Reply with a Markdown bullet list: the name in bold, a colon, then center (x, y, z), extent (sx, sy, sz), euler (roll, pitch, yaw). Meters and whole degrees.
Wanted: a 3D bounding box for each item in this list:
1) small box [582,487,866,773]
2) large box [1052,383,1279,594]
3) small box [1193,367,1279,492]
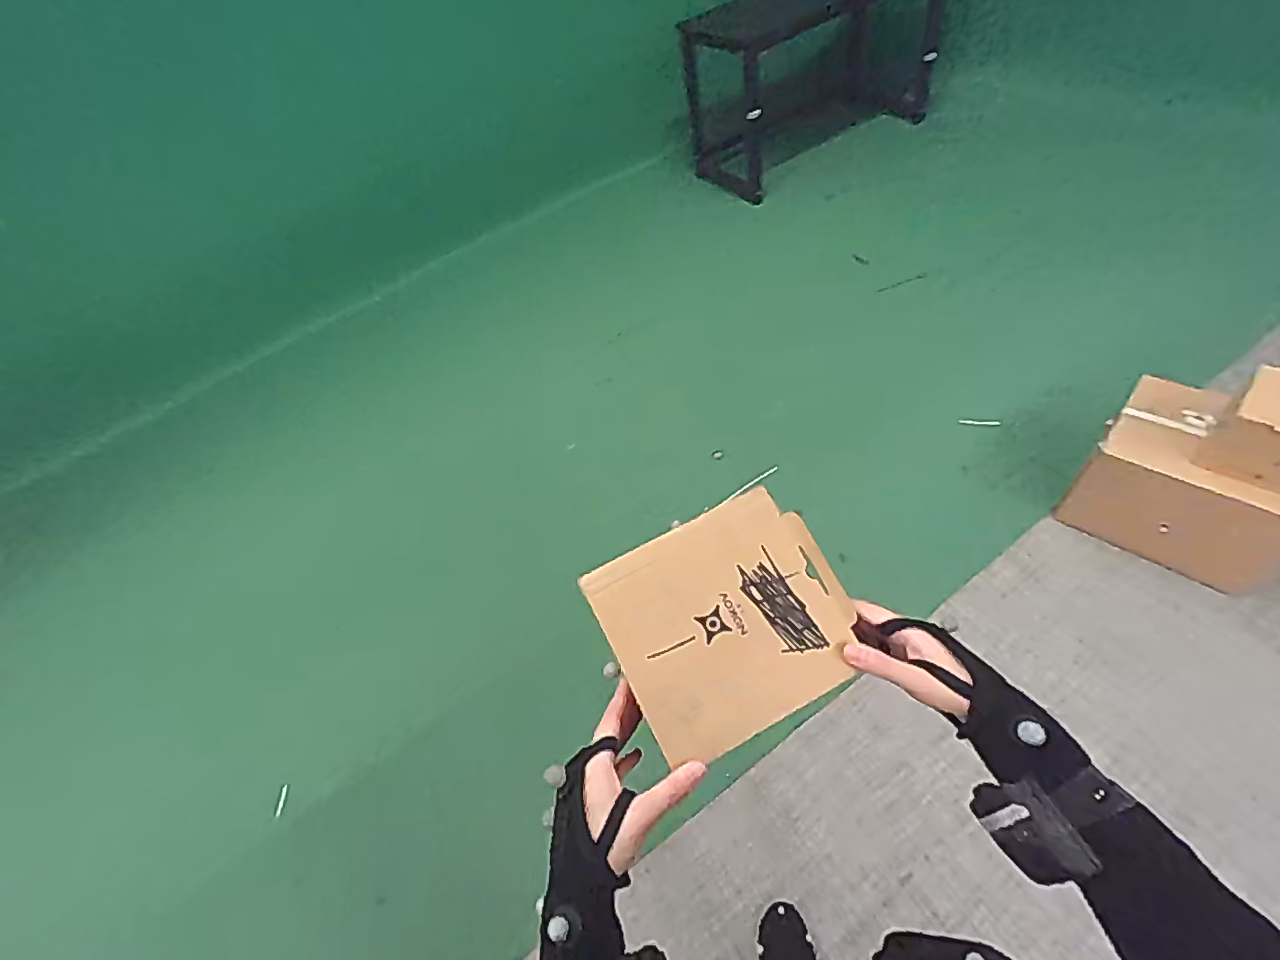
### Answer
- **small box**: center (0.062, 0.133, 0.498), extent (0.179, 0.176, 0.168), euler (-25, 73, -9)
- **large box**: center (1.381, 0.017, 1.376), extent (0.408, 0.320, 0.320), euler (30, 64, 34)
- **small box**: center (1.352, -0.104, 1.160), extent (0.168, 0.176, 0.179), euler (32, 67, 32)
